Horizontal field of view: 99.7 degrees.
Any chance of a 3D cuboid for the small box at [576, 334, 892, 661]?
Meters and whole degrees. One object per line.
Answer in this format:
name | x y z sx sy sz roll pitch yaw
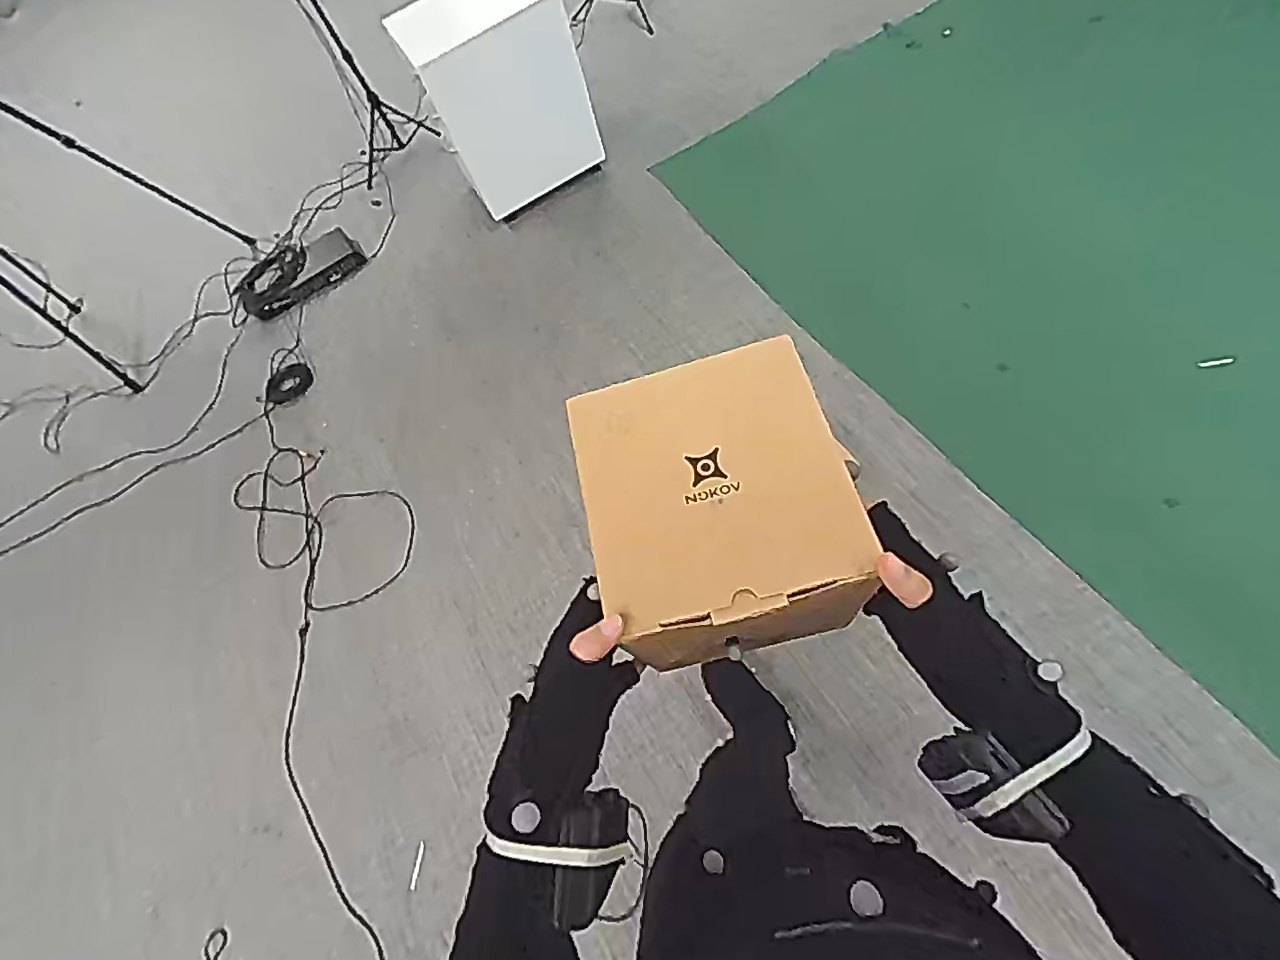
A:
small box | 0.061 0.025 0.416 0.168 0.176 0.179 -15 63 5
